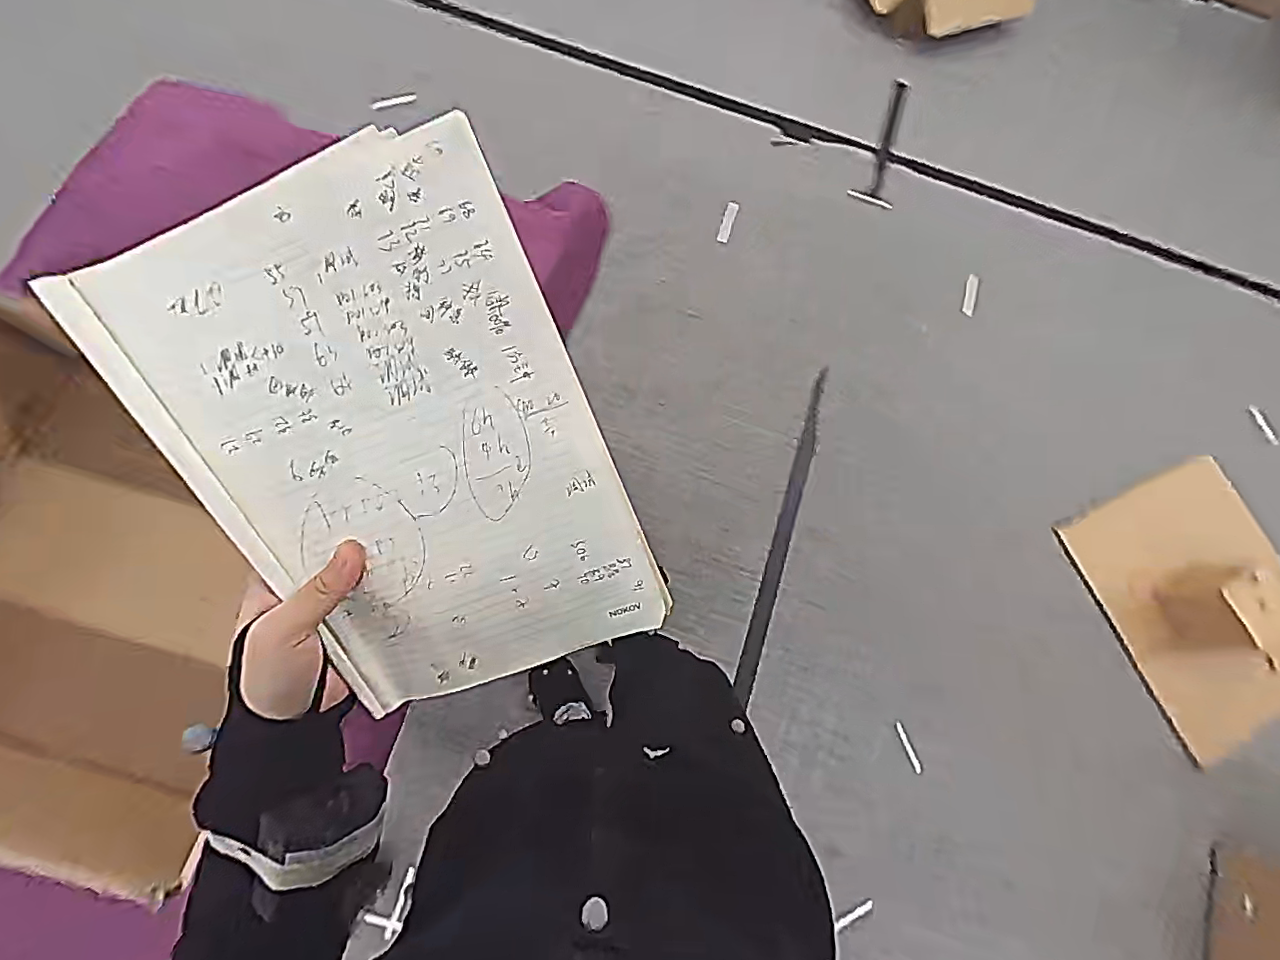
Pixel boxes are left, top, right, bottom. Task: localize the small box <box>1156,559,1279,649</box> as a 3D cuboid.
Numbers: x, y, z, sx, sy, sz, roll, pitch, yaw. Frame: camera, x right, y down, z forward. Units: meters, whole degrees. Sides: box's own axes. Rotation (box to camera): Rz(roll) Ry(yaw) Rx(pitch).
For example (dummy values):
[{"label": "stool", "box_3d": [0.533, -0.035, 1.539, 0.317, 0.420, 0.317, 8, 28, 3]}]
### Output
[{"label": "small box", "box_3d": [1.554, 0.324, 1.436, 0.168, 0.176, 0.179, -26, 82, -11]}]
